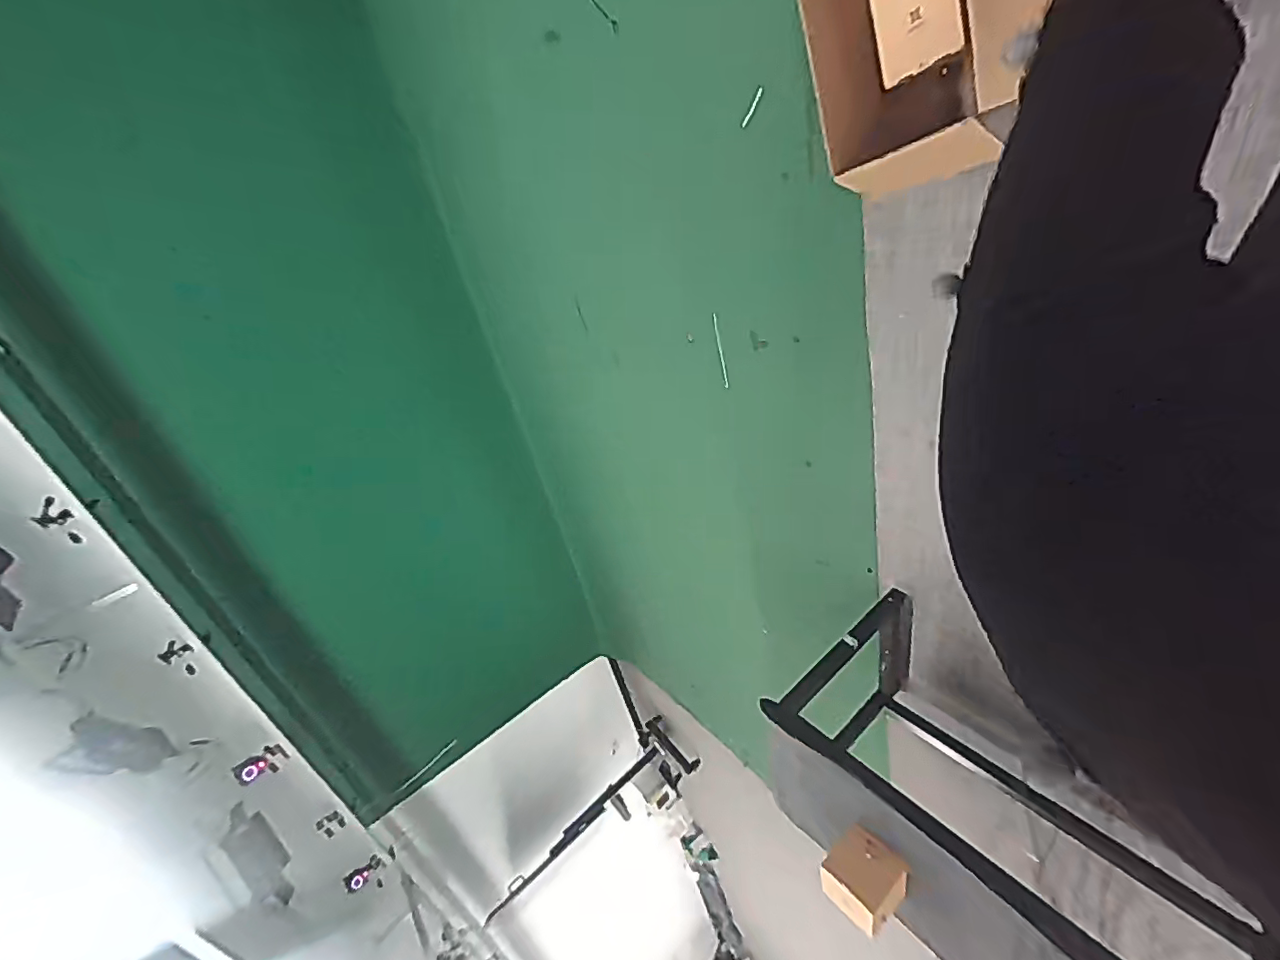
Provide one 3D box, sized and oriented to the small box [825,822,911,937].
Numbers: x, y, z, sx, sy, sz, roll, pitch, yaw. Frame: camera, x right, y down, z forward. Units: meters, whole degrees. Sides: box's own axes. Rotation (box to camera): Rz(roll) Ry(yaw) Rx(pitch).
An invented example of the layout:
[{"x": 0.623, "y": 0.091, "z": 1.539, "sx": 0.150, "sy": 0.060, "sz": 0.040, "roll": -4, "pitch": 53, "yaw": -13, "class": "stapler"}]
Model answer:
[{"x": 0.657, "y": 1.142, "z": 1.556, "sx": 0.168, "sy": 0.176, "sz": 0.179, "roll": 26, "pitch": 139, "yaw": 48, "class": "small box"}]
